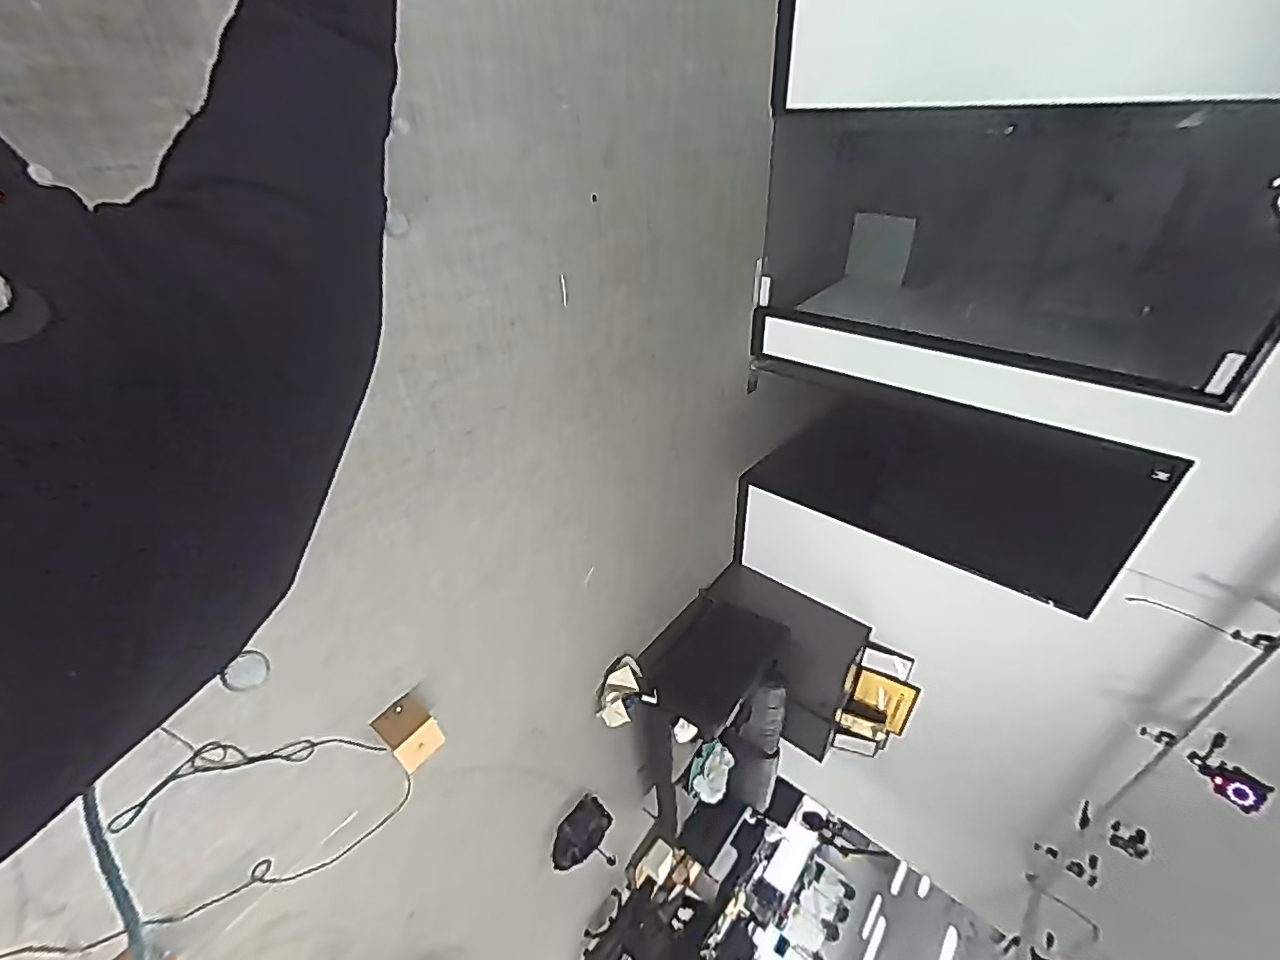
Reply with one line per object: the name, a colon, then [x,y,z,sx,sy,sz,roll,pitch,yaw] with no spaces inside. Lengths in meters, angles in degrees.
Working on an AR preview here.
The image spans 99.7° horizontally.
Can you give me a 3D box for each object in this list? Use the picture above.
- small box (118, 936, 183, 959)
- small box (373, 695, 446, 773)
small box: [-1.441,1.472,1.552,0.168,0.176,0.179,-35,135,-35]
small box: [-0.869,0.952,2.041,0.168,0.176,0.179,-39,139,-36]
